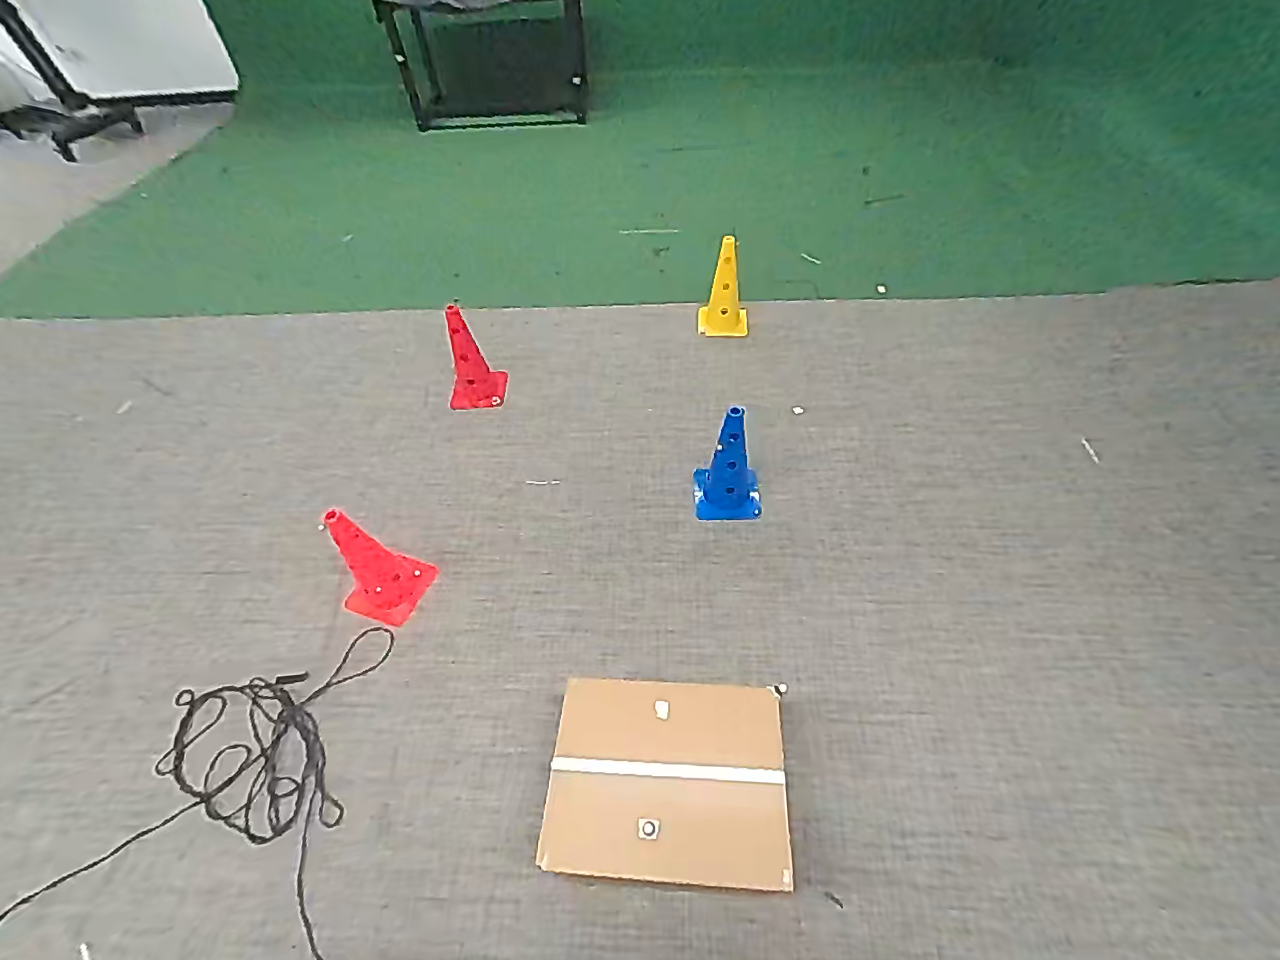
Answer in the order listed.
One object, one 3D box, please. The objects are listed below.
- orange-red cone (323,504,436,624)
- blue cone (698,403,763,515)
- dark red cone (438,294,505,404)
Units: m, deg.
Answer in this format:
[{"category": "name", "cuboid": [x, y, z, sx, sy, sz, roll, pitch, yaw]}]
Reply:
[{"category": "orange-red cone", "cuboid": [-0.714, 0.187, 1.397, 0.199, 0.360, 0.198, 14, 52, 18]}, {"category": "blue cone", "cuboid": [0.269, -0.072, 1.554, 0.192, 0.380, 0.193, 0, 51, 4]}, {"category": "dark red cone", "cuboid": [-0.624, -0.468, 1.909, 0.202, 0.394, 0.201, -6, 47, -1]}]
